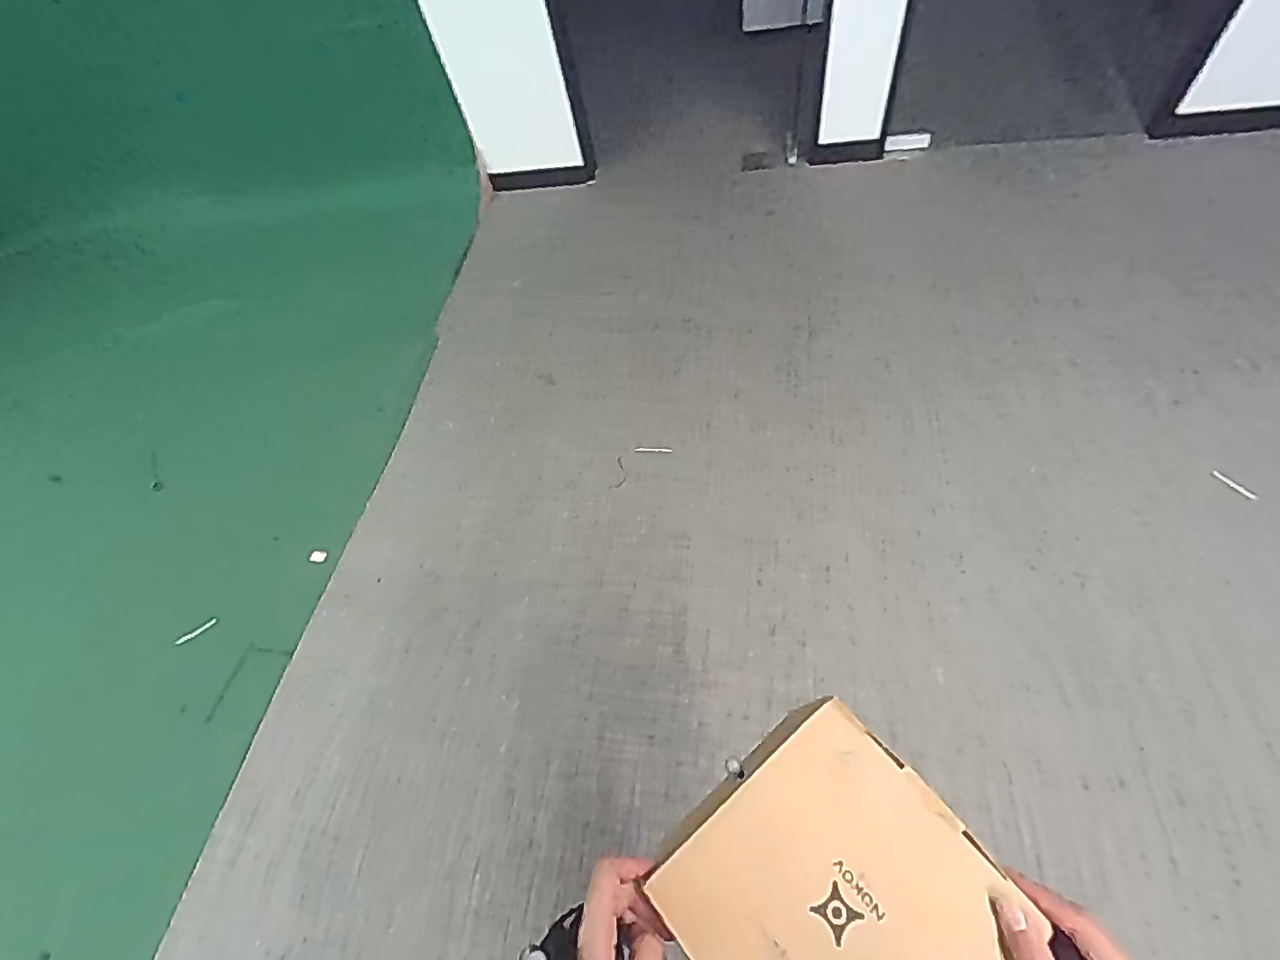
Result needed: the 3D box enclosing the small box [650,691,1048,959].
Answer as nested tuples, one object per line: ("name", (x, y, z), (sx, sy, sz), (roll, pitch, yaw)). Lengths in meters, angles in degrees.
("small box", (0.126, 0.283, 0.392), (0.179, 0.176, 0.168), (-39, 65, -13))
